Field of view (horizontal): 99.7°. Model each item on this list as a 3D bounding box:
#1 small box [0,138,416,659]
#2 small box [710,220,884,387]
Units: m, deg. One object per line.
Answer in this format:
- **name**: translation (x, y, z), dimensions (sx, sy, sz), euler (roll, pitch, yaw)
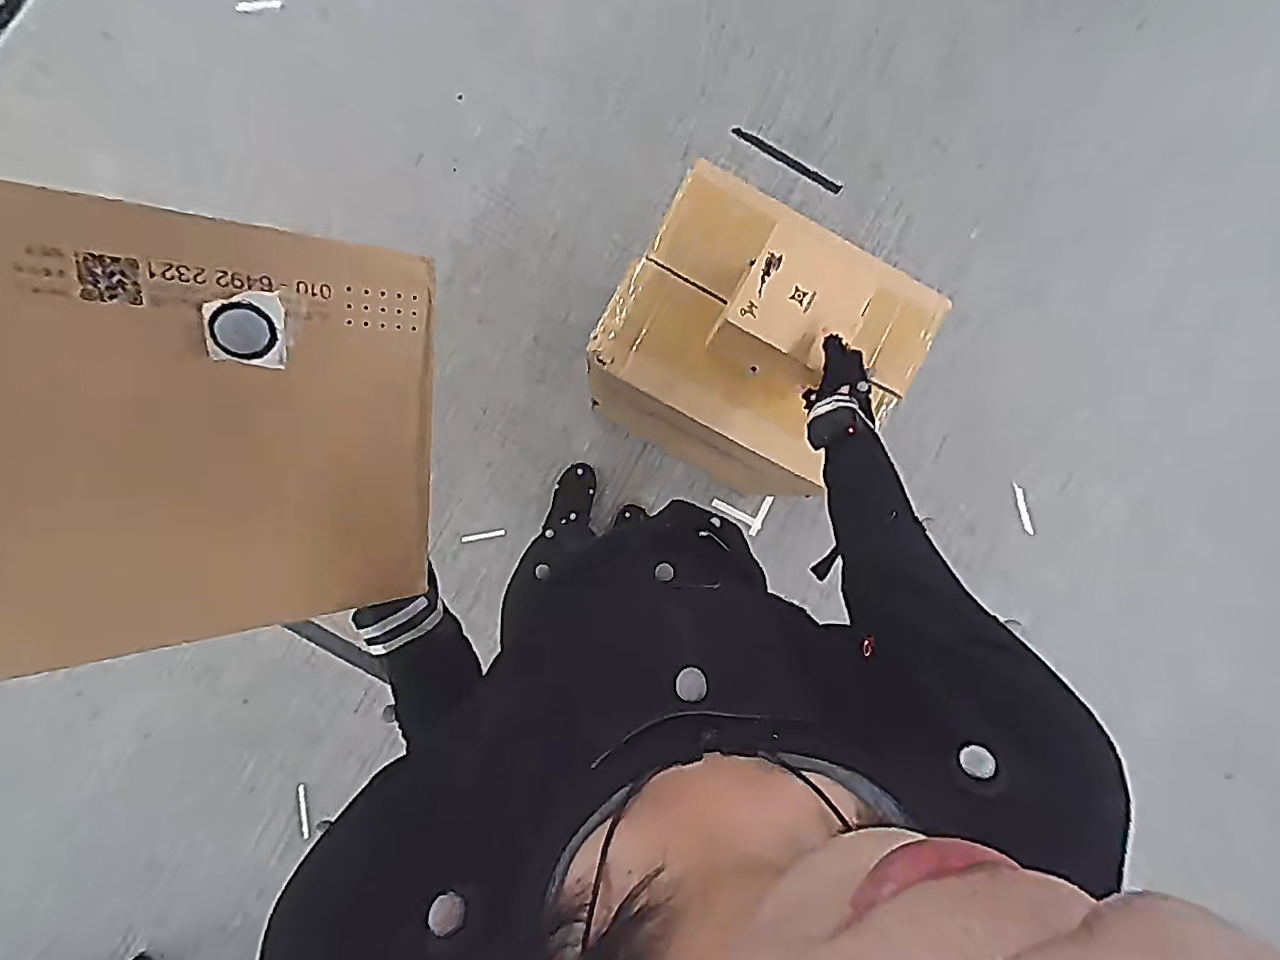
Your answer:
- **small box**: translation (-0.215, -0.048, 0.261), dimensions (0.168, 0.179, 0.176), euler (-7, 113, -37)
- **small box**: translation (0.233, -0.260, 0.848), dimensions (0.179, 0.176, 0.168), euler (29, 88, -3)
